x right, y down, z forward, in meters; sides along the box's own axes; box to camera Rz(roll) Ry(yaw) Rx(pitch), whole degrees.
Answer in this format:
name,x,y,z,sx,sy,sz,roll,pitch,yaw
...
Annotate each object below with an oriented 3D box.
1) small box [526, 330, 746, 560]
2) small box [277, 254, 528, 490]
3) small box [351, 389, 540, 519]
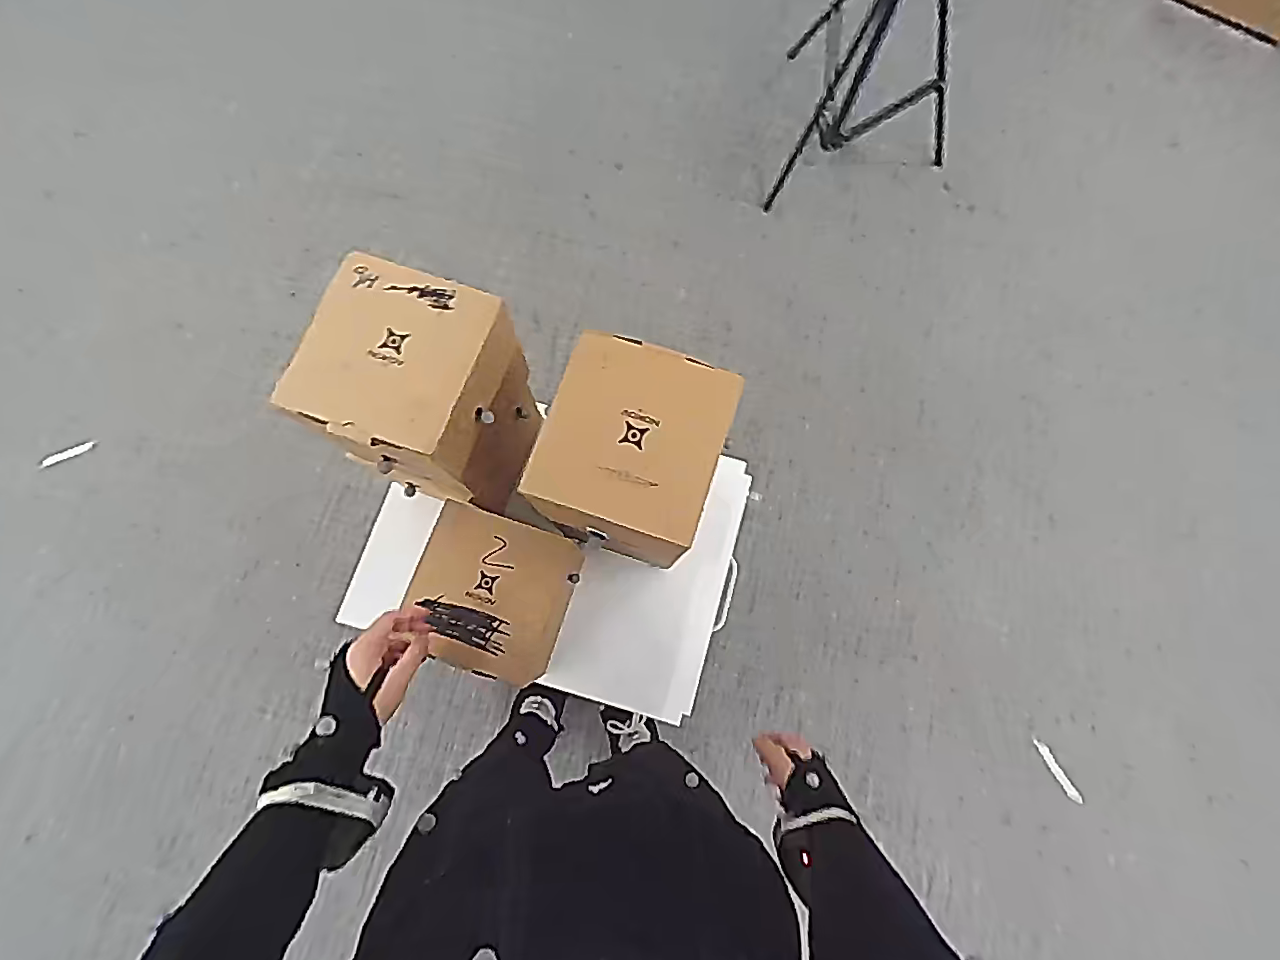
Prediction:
name,x,y,z,sx,sy,sz,roll,pitch,yaw
small box,-0.003,-0.025,0.579,0.168,0.176,0.179,18,78,4
small box,-0.236,-0.102,0.591,0.168,0.176,0.179,19,77,2
small box,-0.250,-0.059,0.749,0.168,0.176,0.179,20,77,2
